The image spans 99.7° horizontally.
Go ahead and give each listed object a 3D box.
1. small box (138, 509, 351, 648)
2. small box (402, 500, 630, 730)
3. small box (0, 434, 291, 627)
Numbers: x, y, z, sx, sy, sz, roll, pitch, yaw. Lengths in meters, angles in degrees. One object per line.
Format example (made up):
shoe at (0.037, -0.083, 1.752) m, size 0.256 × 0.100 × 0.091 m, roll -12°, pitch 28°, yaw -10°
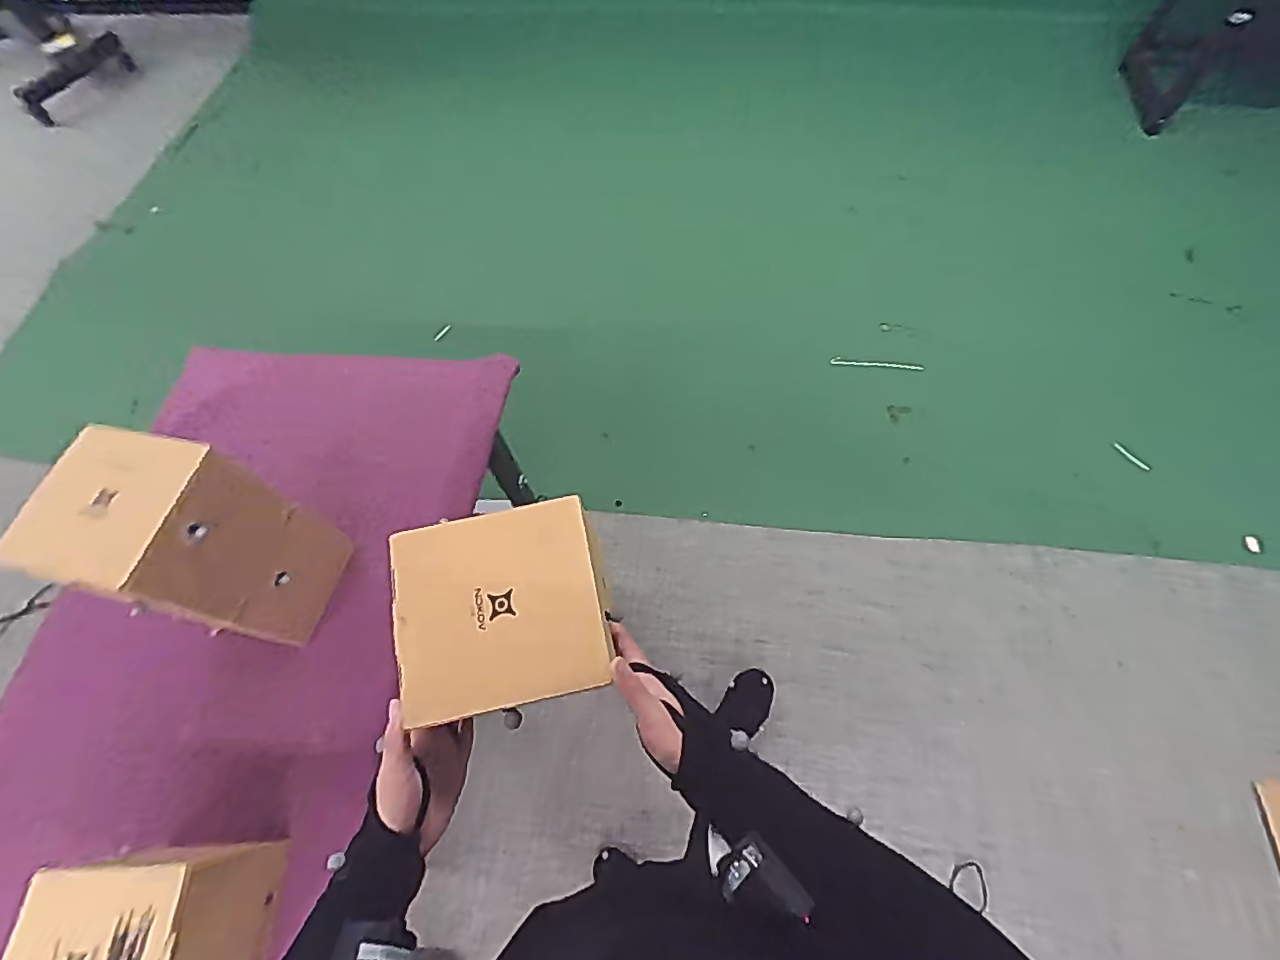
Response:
small box at (-0.575, 0.141, 0.811) m, size 0.168 × 0.176 × 0.179 m, roll 10°, pitch 64°, yaw 8°
small box at (-0.109, 0.133, 0.536) m, size 0.179 × 0.176 × 0.168 m, roll -13°, pitch 72°, yaw -1°
small box at (-0.579, 0.070, 0.665) m, size 0.168 × 0.176 × 0.179 m, roll 10°, pitch 64°, yaw 7°
